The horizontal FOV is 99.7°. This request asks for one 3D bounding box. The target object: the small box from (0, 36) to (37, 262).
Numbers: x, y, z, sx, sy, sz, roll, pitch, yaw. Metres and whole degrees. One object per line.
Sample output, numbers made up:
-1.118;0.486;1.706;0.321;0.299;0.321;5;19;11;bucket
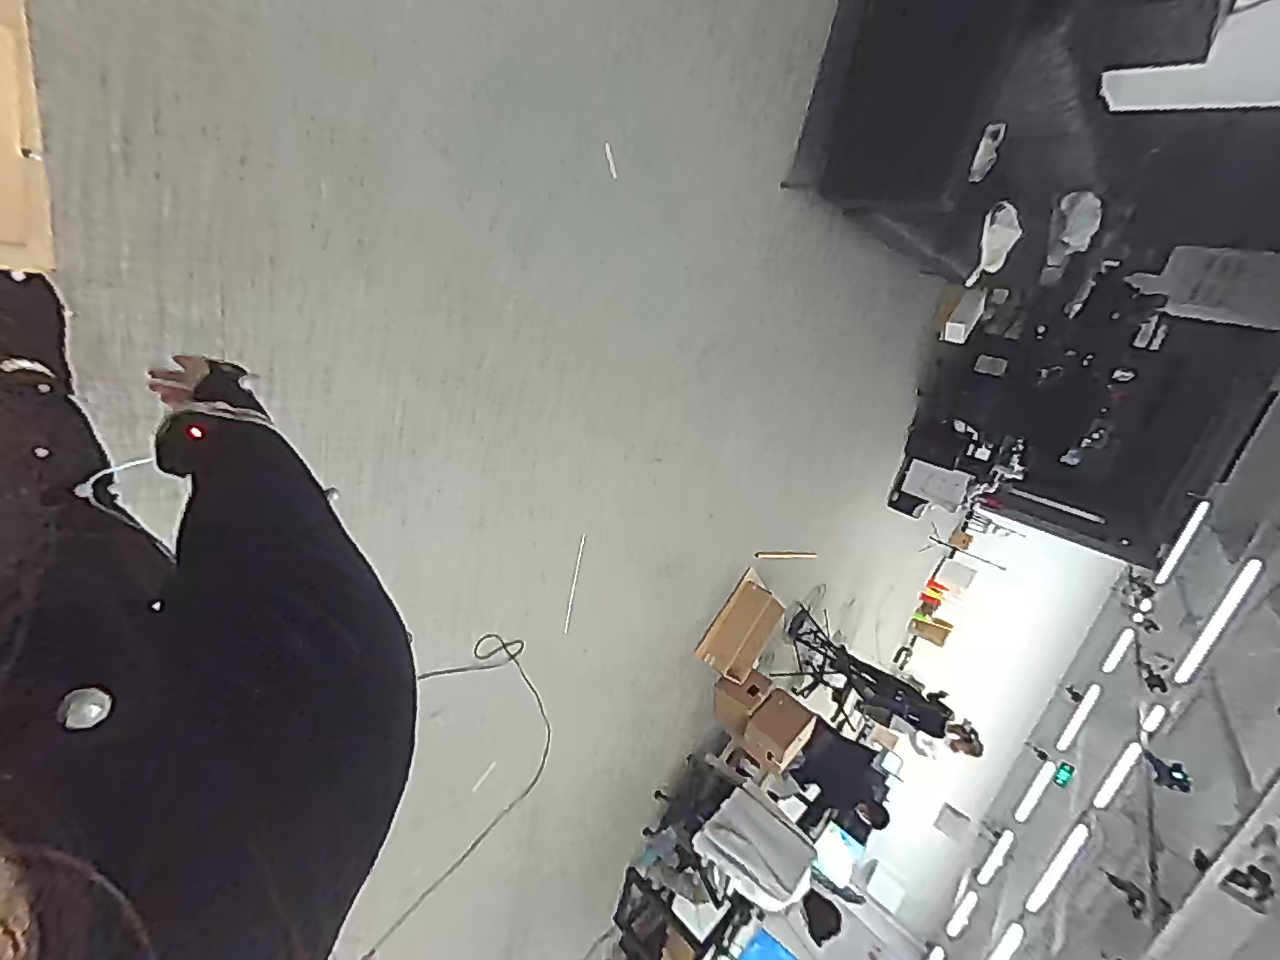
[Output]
-0.635;-0.302;0.456;0.168;0.176;0.179;-4;112;-48;small box
